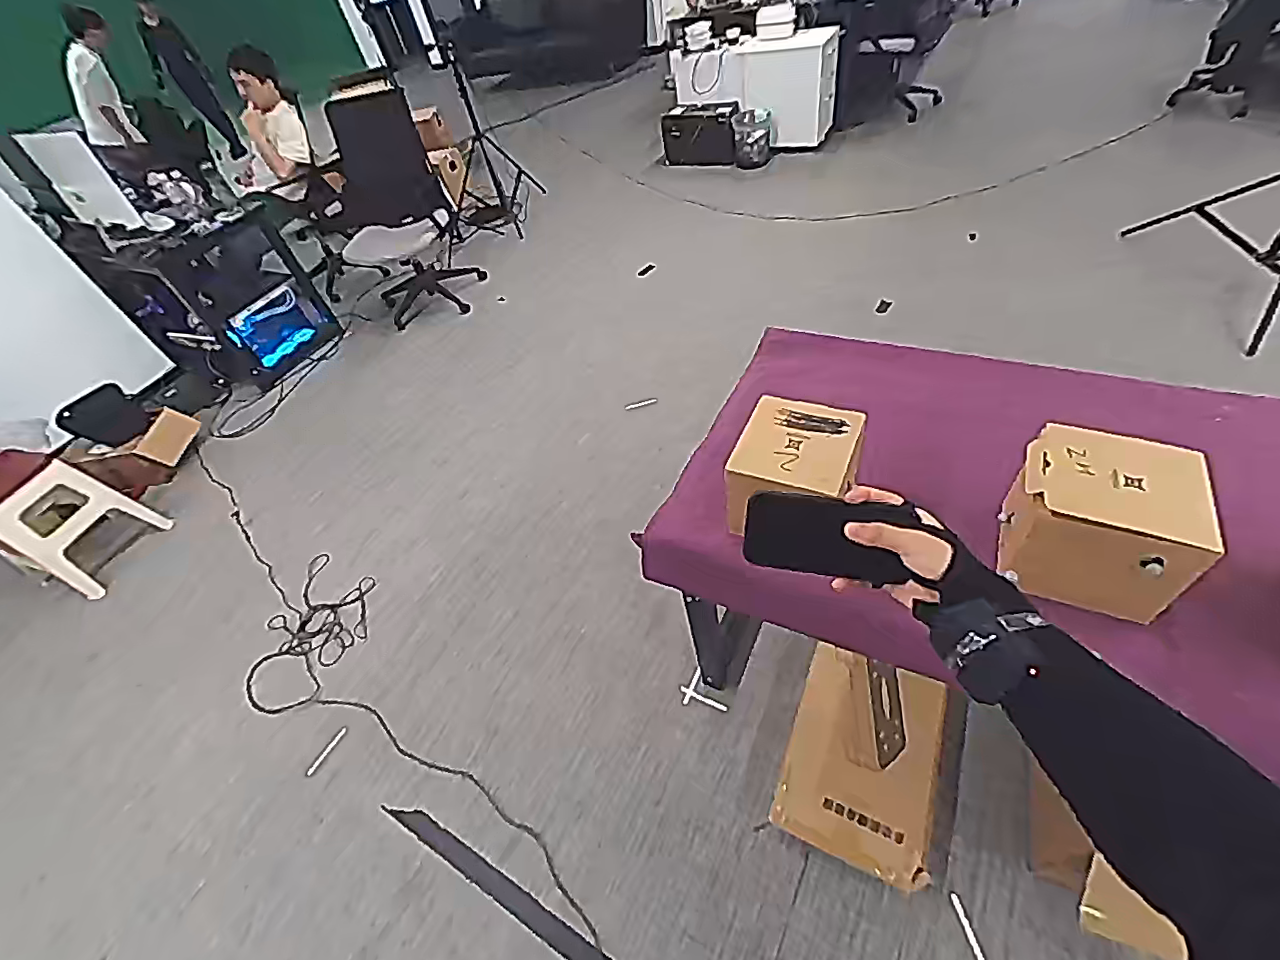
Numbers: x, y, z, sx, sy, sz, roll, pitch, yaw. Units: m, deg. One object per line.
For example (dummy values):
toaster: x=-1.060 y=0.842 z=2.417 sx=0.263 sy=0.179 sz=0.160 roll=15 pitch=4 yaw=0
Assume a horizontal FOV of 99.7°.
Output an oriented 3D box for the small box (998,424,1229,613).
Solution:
small box: x=0.612 y=0.054 z=0.723 sx=0.179 sy=0.176 sz=0.168 roll=14 pitch=52 yaw=24
